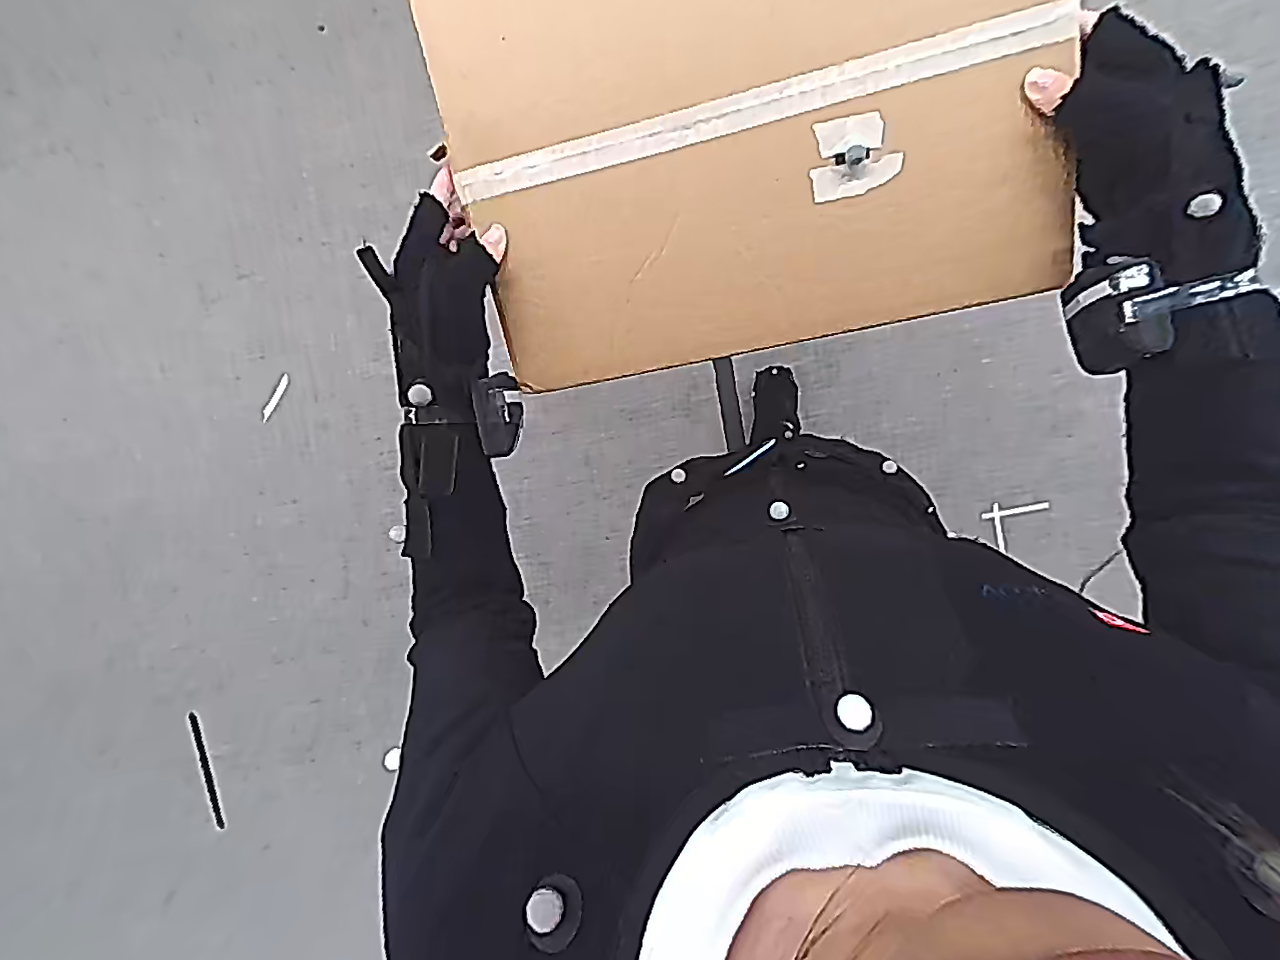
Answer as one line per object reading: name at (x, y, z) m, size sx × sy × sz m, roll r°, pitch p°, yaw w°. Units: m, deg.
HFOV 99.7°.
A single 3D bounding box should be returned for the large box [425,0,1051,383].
large box at (0.082, -0.304, 0.516) m, size 0.408 × 0.320 × 0.320 m, roll -10°, pitch 108°, yaw 9°
